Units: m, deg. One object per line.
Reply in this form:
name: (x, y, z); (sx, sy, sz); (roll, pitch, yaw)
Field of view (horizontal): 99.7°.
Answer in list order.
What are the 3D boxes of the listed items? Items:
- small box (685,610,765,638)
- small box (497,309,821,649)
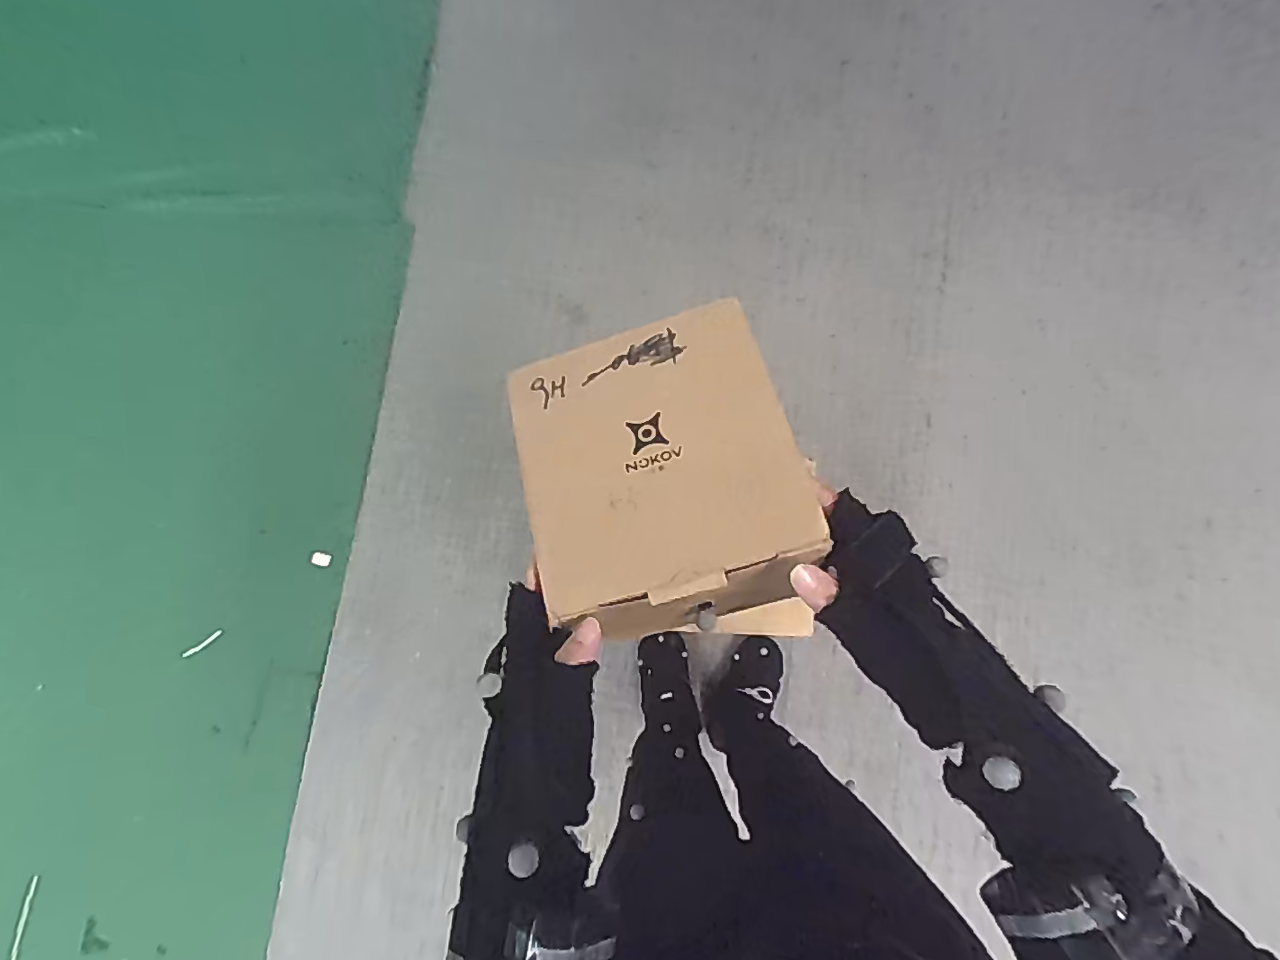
small box: (0.104, 0.147, 0.858); (0.179, 0.176, 0.168); (3, 85, 7)
small box: (0.018, 0.017, 0.395); (0.168, 0.176, 0.179); (-18, 68, 6)
